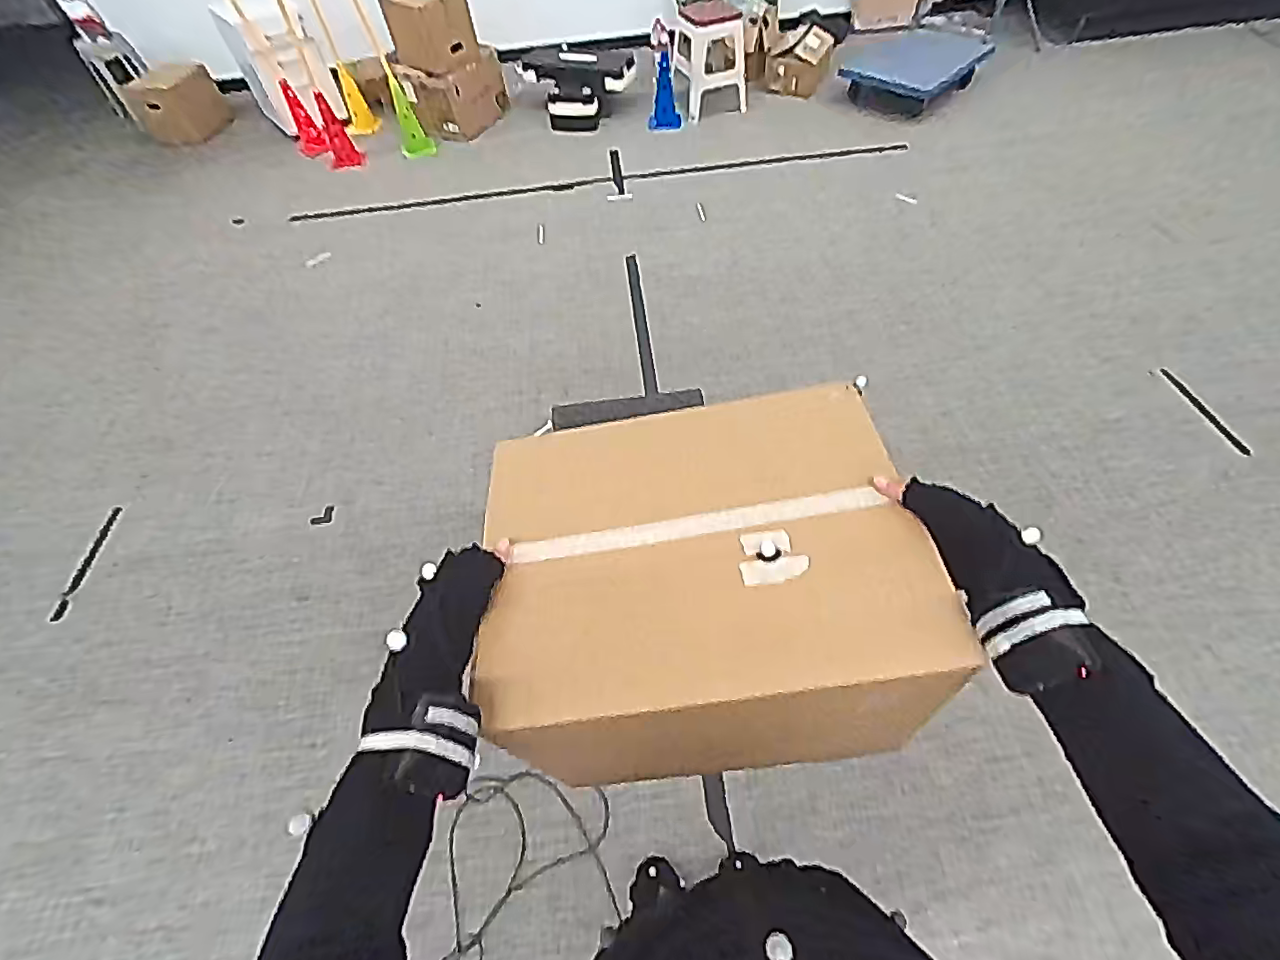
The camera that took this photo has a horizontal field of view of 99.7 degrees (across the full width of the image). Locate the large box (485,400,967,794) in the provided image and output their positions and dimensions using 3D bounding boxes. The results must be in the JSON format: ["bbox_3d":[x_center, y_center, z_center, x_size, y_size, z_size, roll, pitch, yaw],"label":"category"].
[{"bbox_3d":[0.072,0.152,0.642,0.408,0.320,0.320,-10,52,4],"label":"large box"}]
